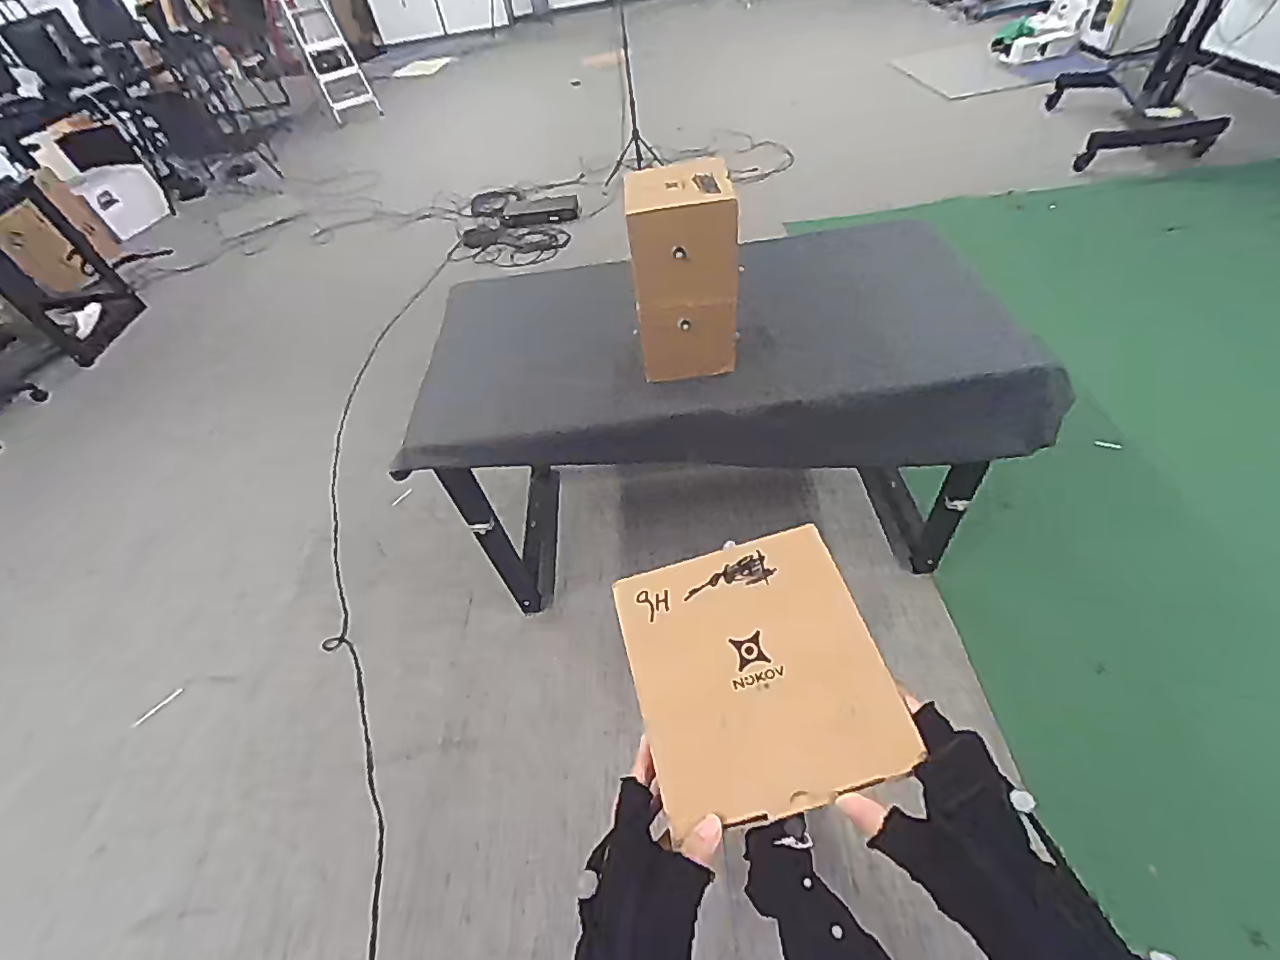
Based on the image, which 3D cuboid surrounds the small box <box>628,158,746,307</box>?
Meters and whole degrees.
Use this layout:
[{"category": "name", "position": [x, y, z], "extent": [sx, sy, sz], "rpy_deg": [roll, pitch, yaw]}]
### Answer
[{"category": "small box", "position": [0.076, -0.421, 0.928], "extent": [0.179, 0.176, 0.168], "rpy_deg": [-7, 50, 2]}]

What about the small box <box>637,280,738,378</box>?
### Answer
[{"category": "small box", "position": [0.092, -0.315, 1.052], "extent": [0.179, 0.176, 0.168], "rpy_deg": [-5, 50, 4]}]
